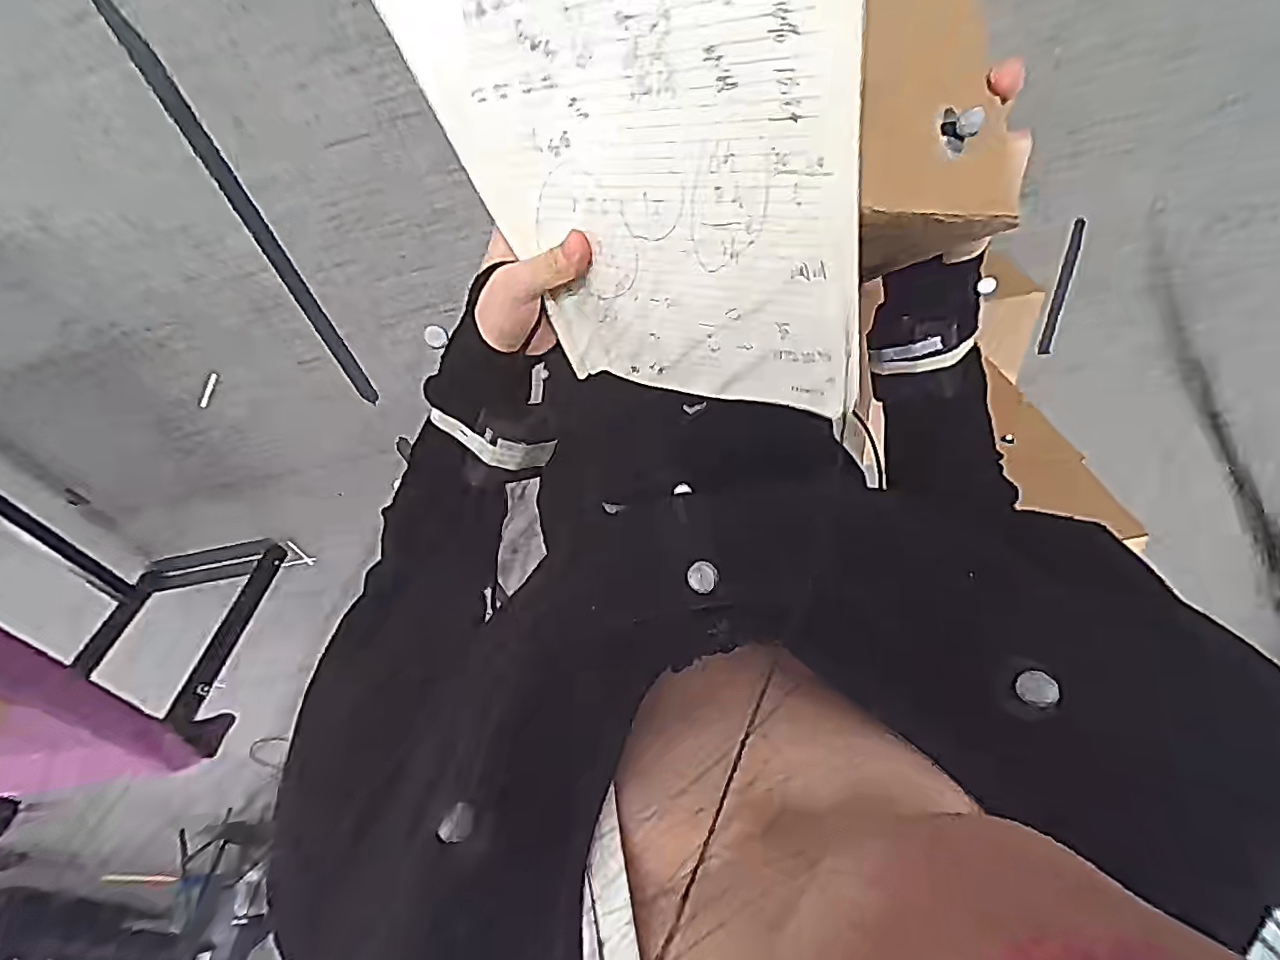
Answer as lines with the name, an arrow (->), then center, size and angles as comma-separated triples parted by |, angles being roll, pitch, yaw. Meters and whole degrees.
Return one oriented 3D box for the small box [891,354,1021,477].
small box -> 0.643, -0.136, 1.128 | 0.179, 0.176, 0.168 | -13, 133, 9
